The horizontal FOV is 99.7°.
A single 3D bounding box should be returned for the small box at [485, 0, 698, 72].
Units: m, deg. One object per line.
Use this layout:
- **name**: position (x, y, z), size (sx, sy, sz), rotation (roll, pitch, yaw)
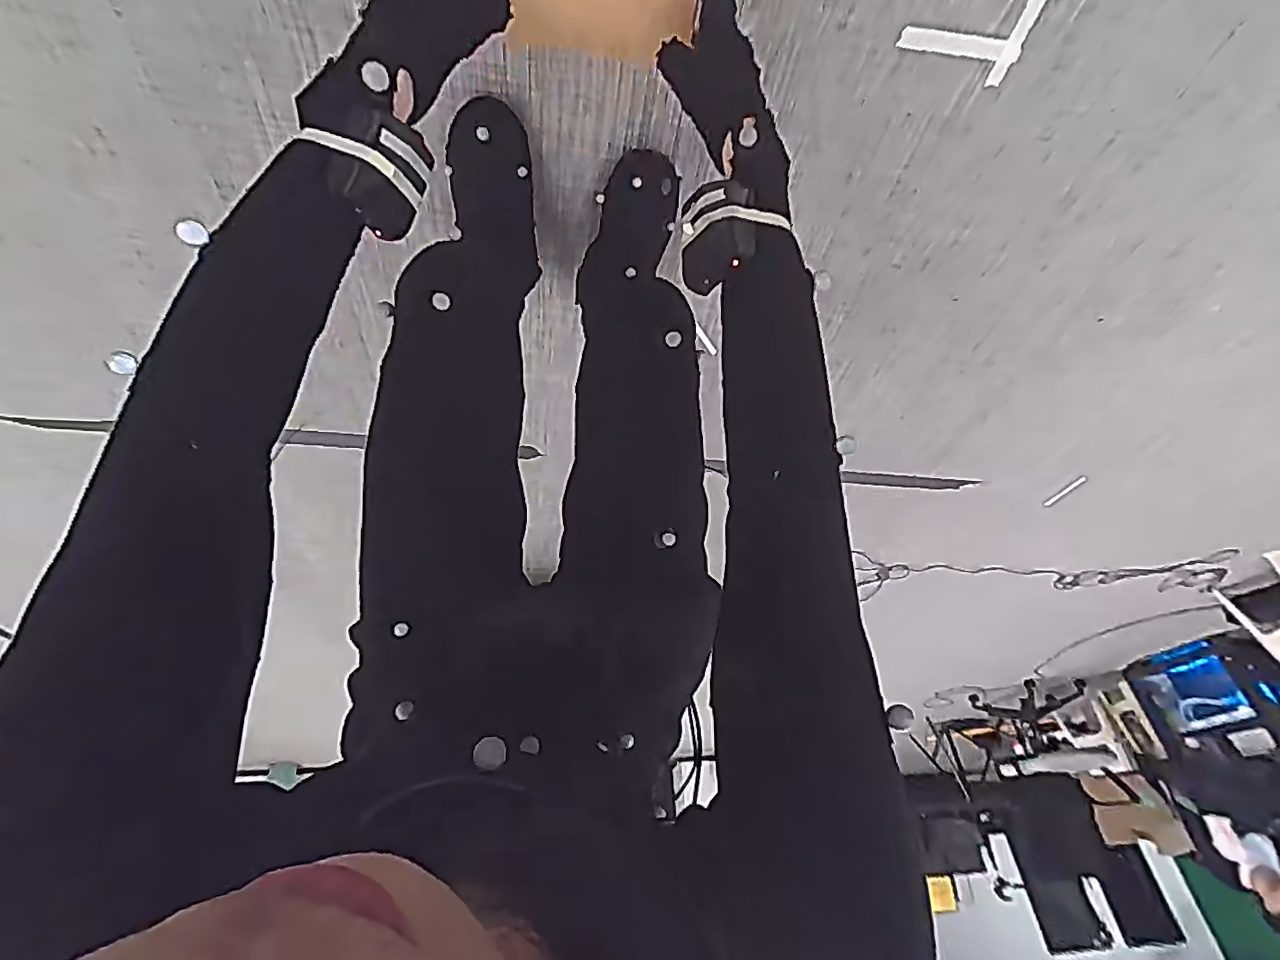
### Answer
- **small box**: position (-0.040, -0.485, 0.461), size (0.179, 0.176, 0.168), rotation (2, 141, -10)
